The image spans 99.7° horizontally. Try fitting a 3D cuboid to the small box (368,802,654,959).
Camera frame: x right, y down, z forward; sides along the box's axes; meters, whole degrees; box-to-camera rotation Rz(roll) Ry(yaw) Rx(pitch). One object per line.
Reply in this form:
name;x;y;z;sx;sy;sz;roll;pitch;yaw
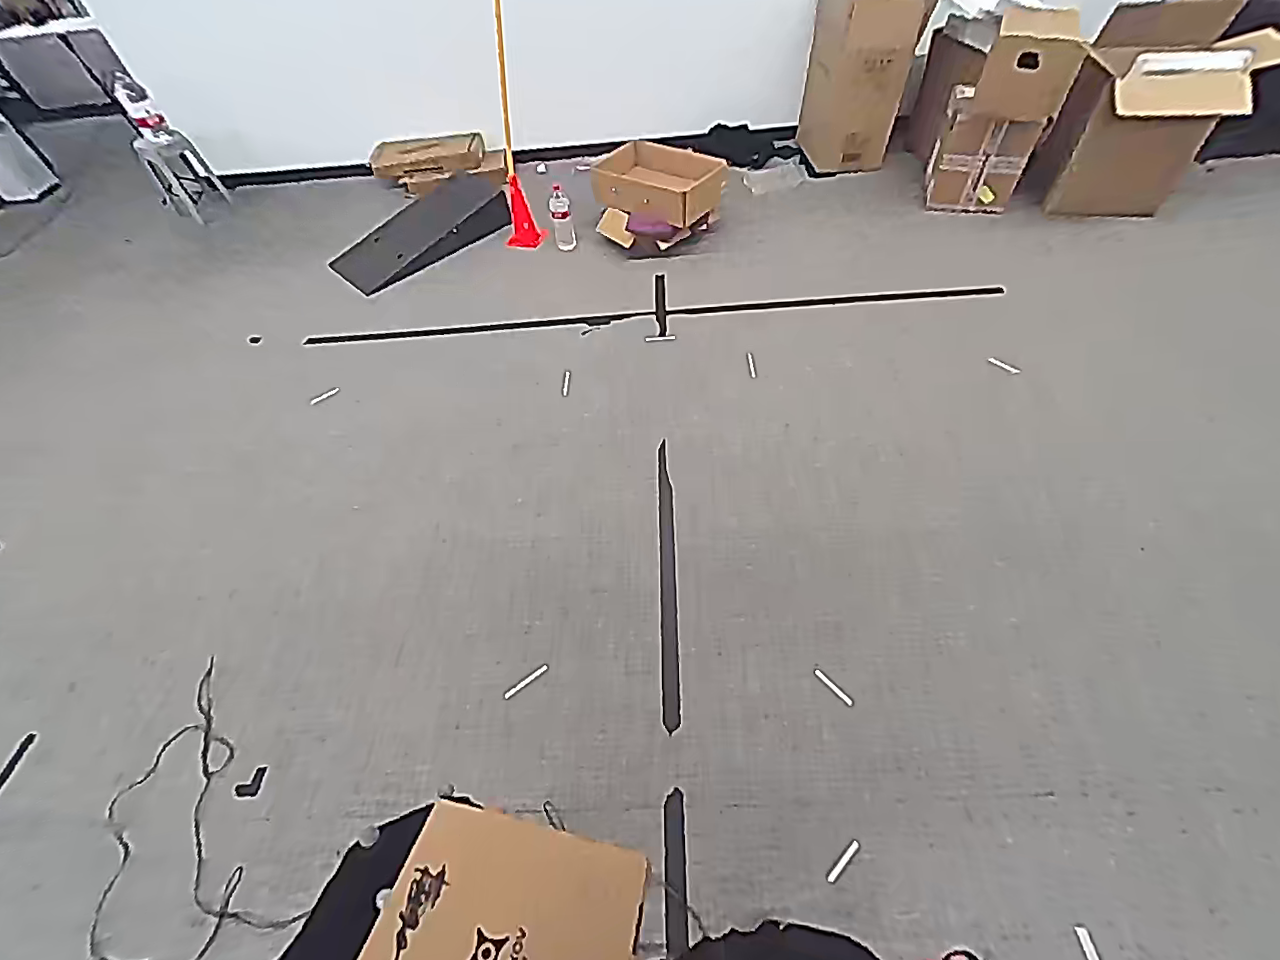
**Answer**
small box;-0.099;0.385;0.404;0.179;0.176;0.168;12;34;6
